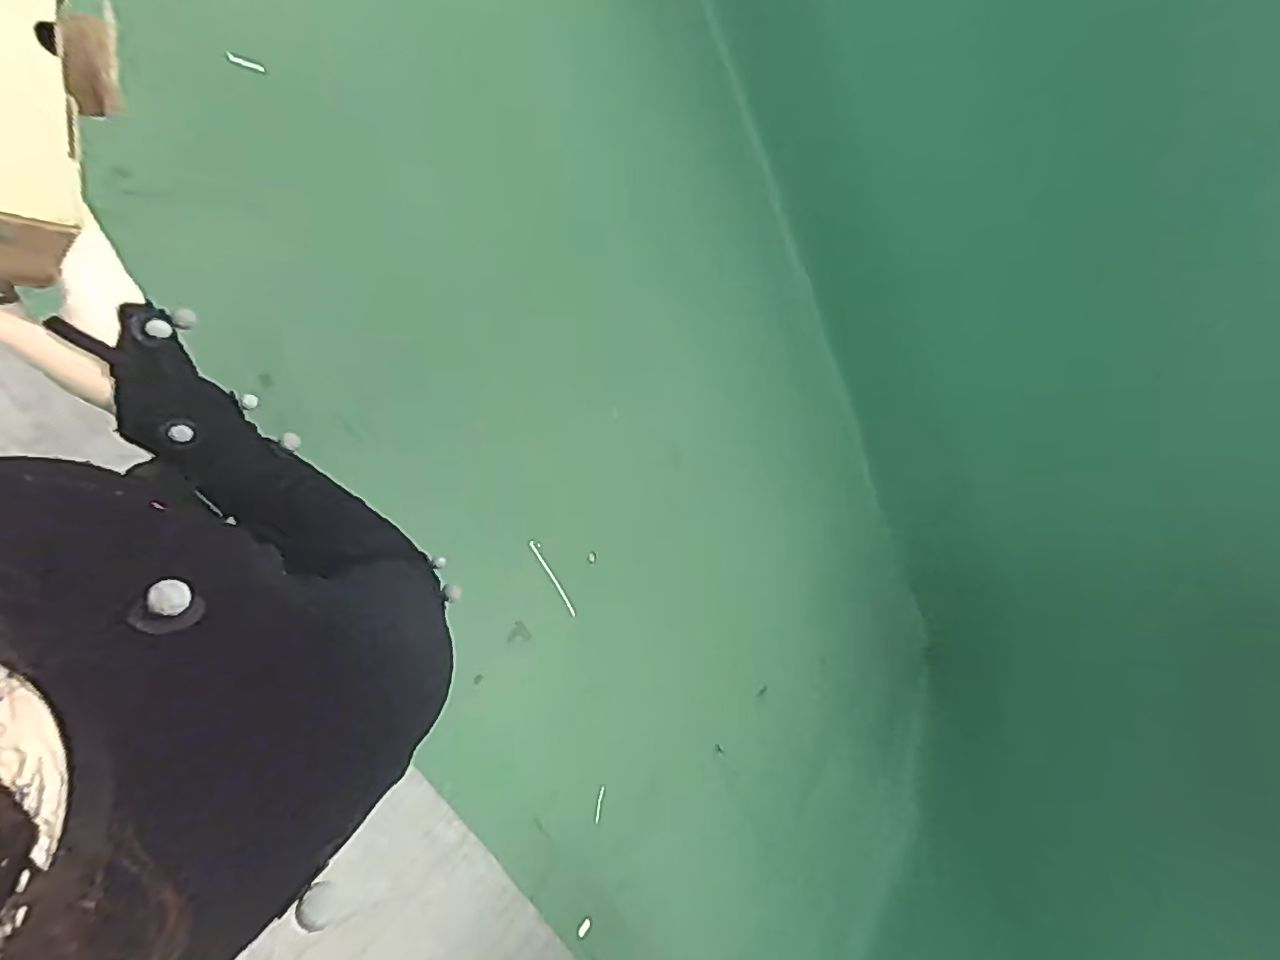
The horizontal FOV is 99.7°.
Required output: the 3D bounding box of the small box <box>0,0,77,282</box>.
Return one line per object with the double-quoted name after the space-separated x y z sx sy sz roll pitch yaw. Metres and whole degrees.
-0.382 -0.196 0.232 0.179 0.176 0.168 -6 98 -52 "small box"
